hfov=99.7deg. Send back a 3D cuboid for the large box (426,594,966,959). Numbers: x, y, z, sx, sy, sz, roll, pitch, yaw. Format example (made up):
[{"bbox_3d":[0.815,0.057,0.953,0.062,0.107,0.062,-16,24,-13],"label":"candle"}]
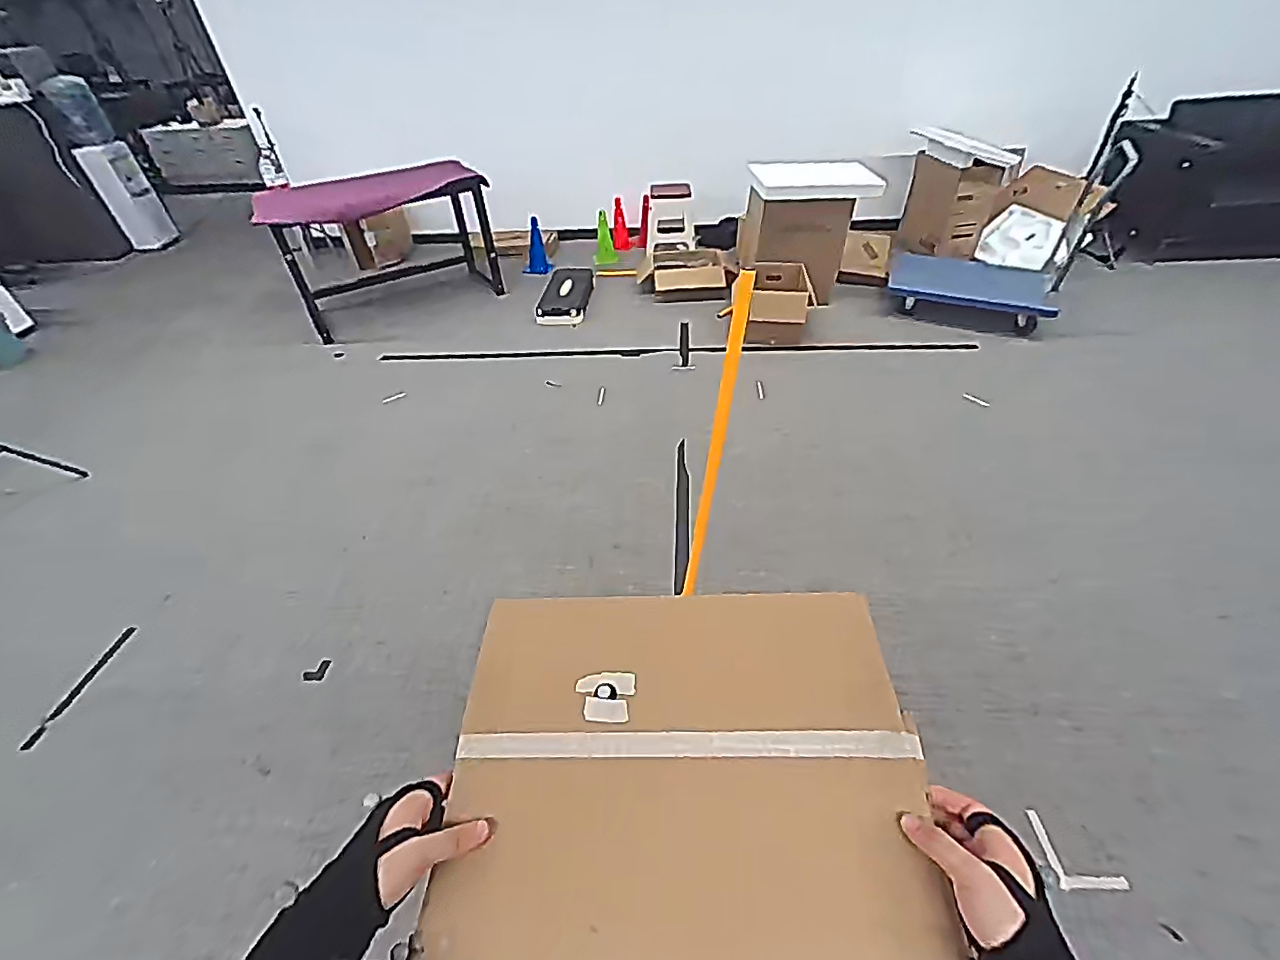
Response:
[{"bbox_3d":[0.053,0.348,0.601,0.408,0.320,0.320,-4,46,6],"label":"large box"}]
